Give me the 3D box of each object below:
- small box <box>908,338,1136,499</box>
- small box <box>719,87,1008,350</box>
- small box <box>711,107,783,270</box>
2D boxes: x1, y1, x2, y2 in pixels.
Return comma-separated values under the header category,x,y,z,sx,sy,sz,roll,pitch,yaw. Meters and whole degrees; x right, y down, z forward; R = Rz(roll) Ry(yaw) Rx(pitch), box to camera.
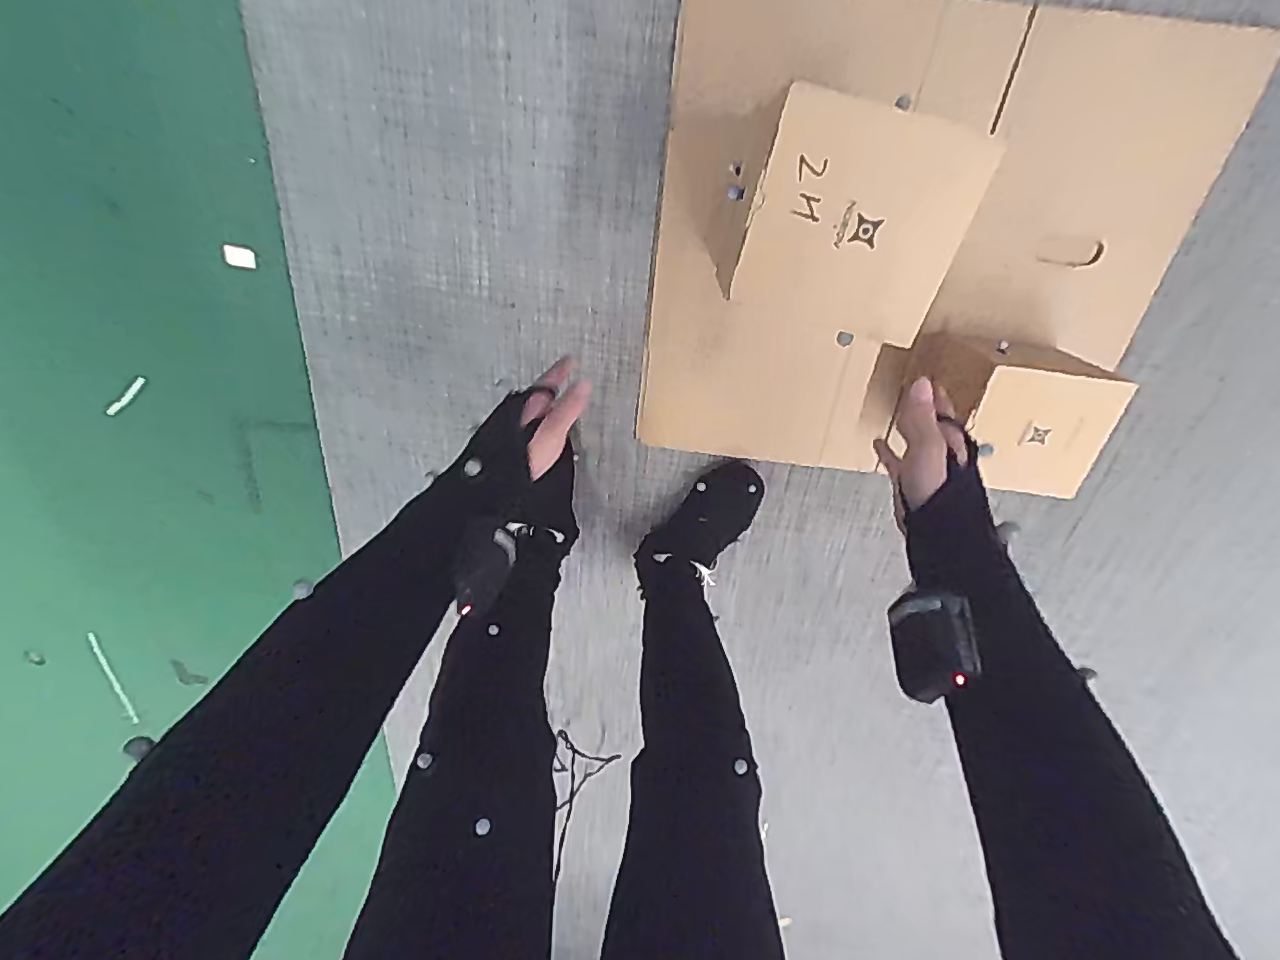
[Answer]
category,x,y,z,sx,sy,sz,roll,pitch,yaw
small box,0.510,-0.095,0.760,0.179,0.176,0.168,8,119,1
small box,0.185,-0.243,0.515,0.179,0.176,0.168,14,118,-3
small box,0.195,-0.327,0.658,0.179,0.176,0.168,14,118,-3
